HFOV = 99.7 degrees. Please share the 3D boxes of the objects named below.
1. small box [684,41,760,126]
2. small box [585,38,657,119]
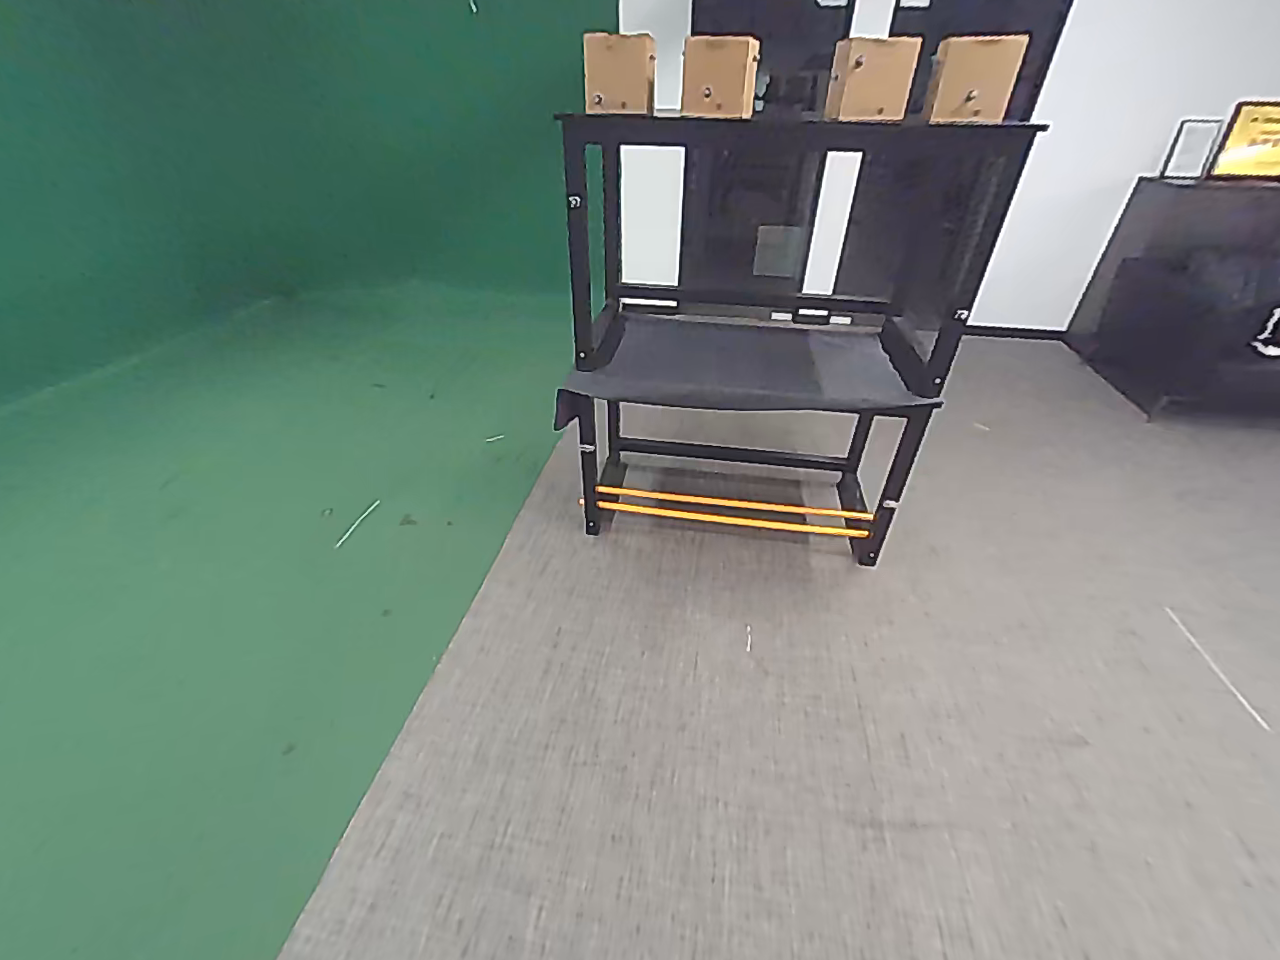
[{"bbox_3d":[0.215,-1.053,1.439,0.168,0.176,0.179,11,37,13],"label":"small box"},{"bbox_3d":[-0.047,-1.082,1.465,0.168,0.176,0.179,6,35,6],"label":"small box"}]
